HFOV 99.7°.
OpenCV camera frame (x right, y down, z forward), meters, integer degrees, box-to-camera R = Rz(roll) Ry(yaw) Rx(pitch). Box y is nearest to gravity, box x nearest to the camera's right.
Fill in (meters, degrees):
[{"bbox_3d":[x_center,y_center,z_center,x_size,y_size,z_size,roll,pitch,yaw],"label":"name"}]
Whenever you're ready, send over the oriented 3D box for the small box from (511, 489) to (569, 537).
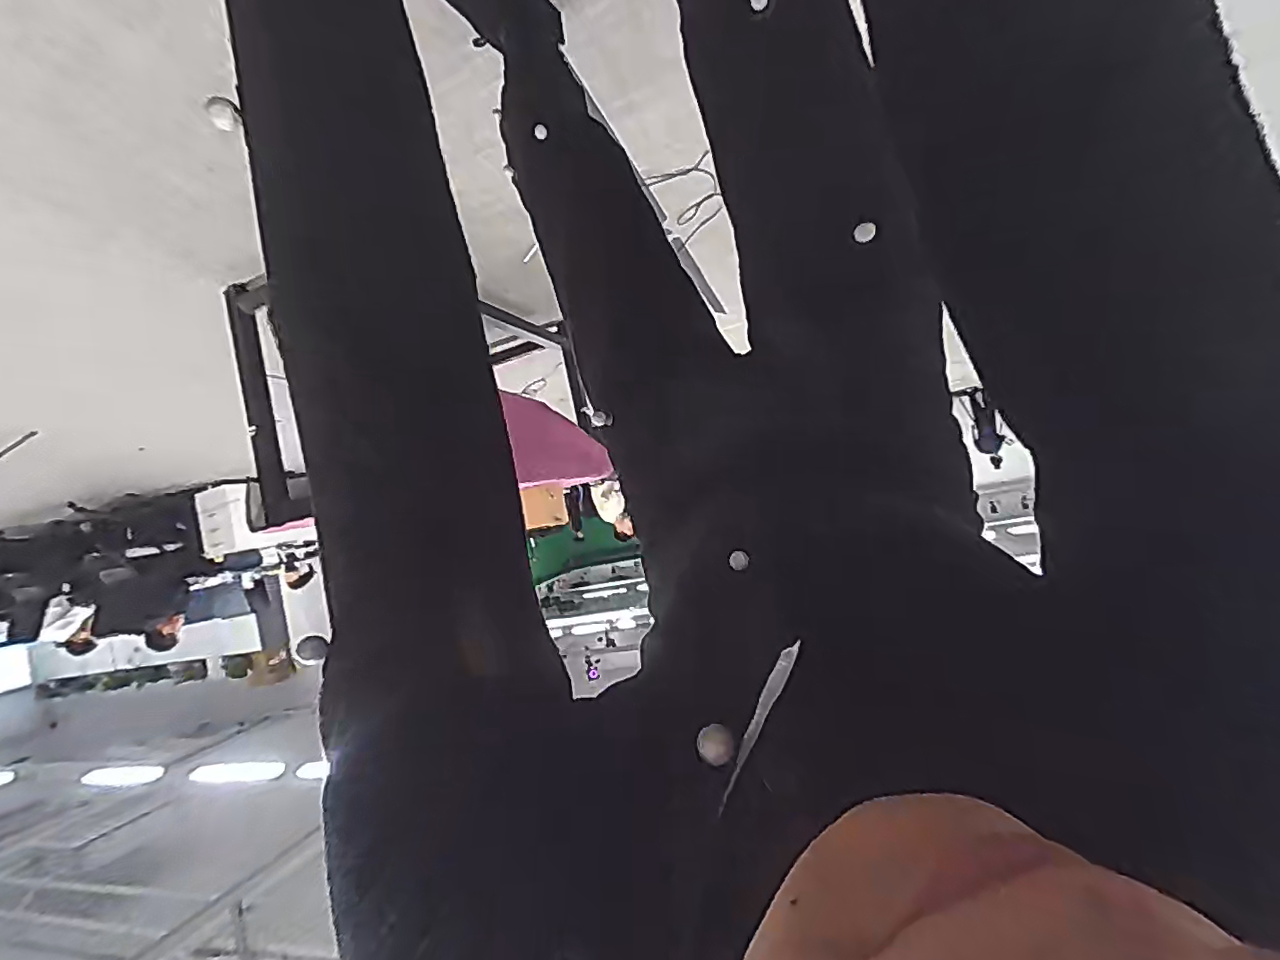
[{"bbox_3d":[-0.428,0.135,2.289,0.179,0.176,0.168,-14,178,27],"label":"small box"}]
